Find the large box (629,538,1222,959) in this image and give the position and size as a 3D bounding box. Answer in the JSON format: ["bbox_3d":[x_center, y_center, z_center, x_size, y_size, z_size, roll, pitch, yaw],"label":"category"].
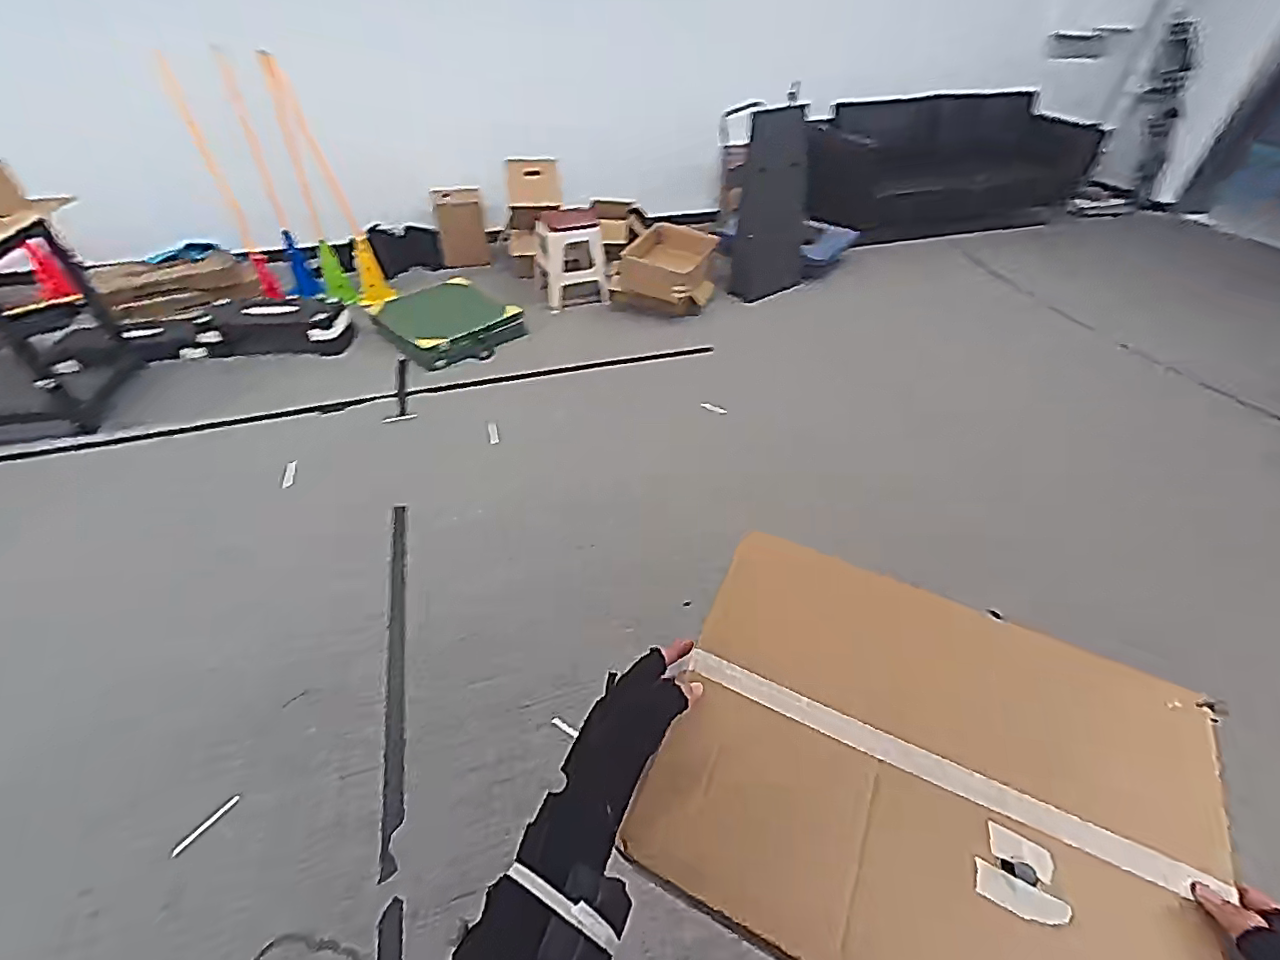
[{"bbox_3d":[0.233,0.322,0.560,0.408,0.320,0.320,20,56,17],"label":"large box"}]
